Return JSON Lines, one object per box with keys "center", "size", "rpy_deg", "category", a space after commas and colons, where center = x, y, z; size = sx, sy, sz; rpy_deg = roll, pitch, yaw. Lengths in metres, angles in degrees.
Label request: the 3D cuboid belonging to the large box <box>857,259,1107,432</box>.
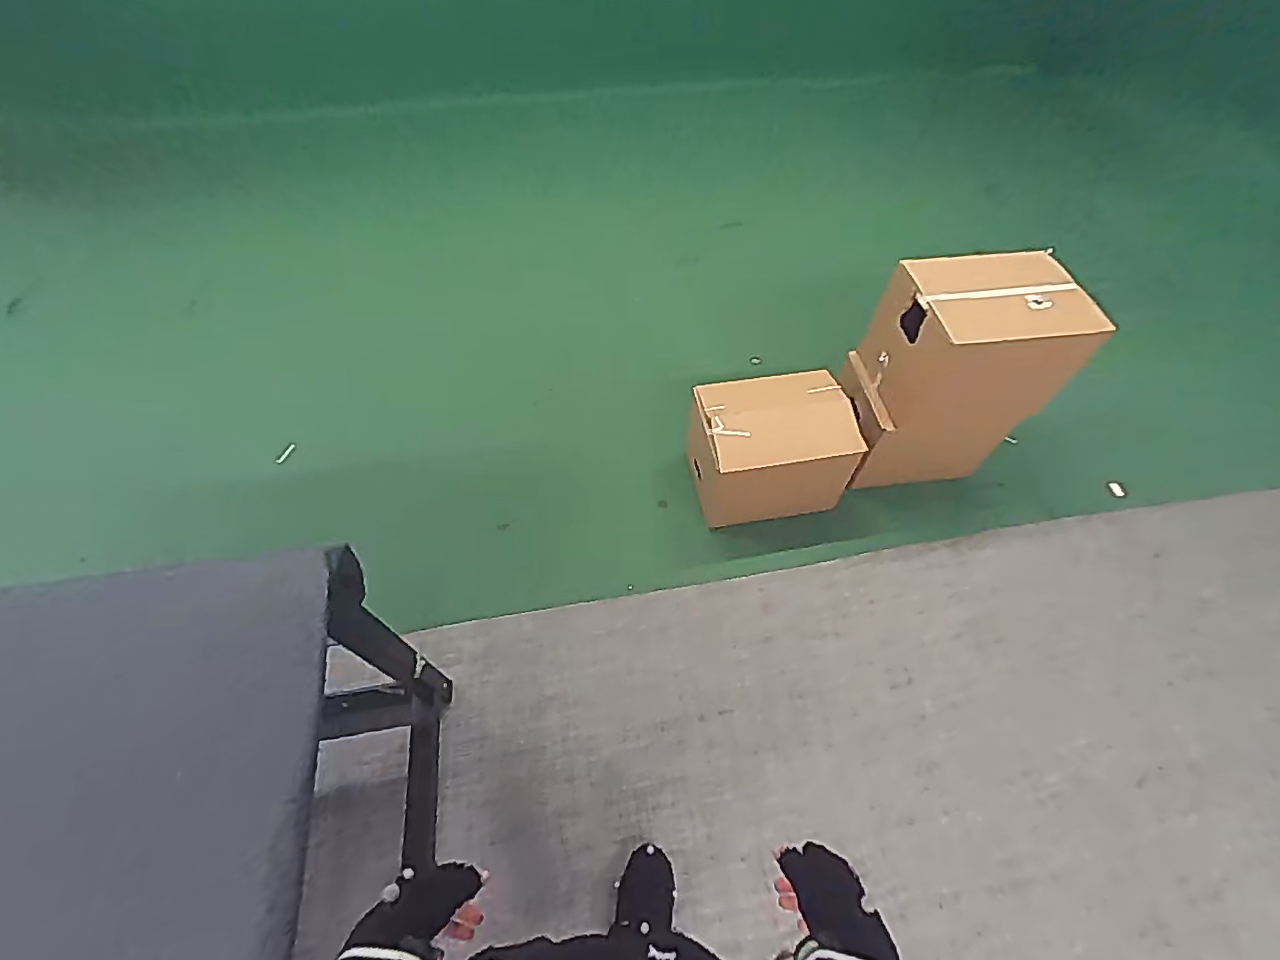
{"center": [0.869, -0.354, 1.443], "size": [0.408, 0.320, 0.320], "rpy_deg": [-6, 57, -6], "category": "large box"}
